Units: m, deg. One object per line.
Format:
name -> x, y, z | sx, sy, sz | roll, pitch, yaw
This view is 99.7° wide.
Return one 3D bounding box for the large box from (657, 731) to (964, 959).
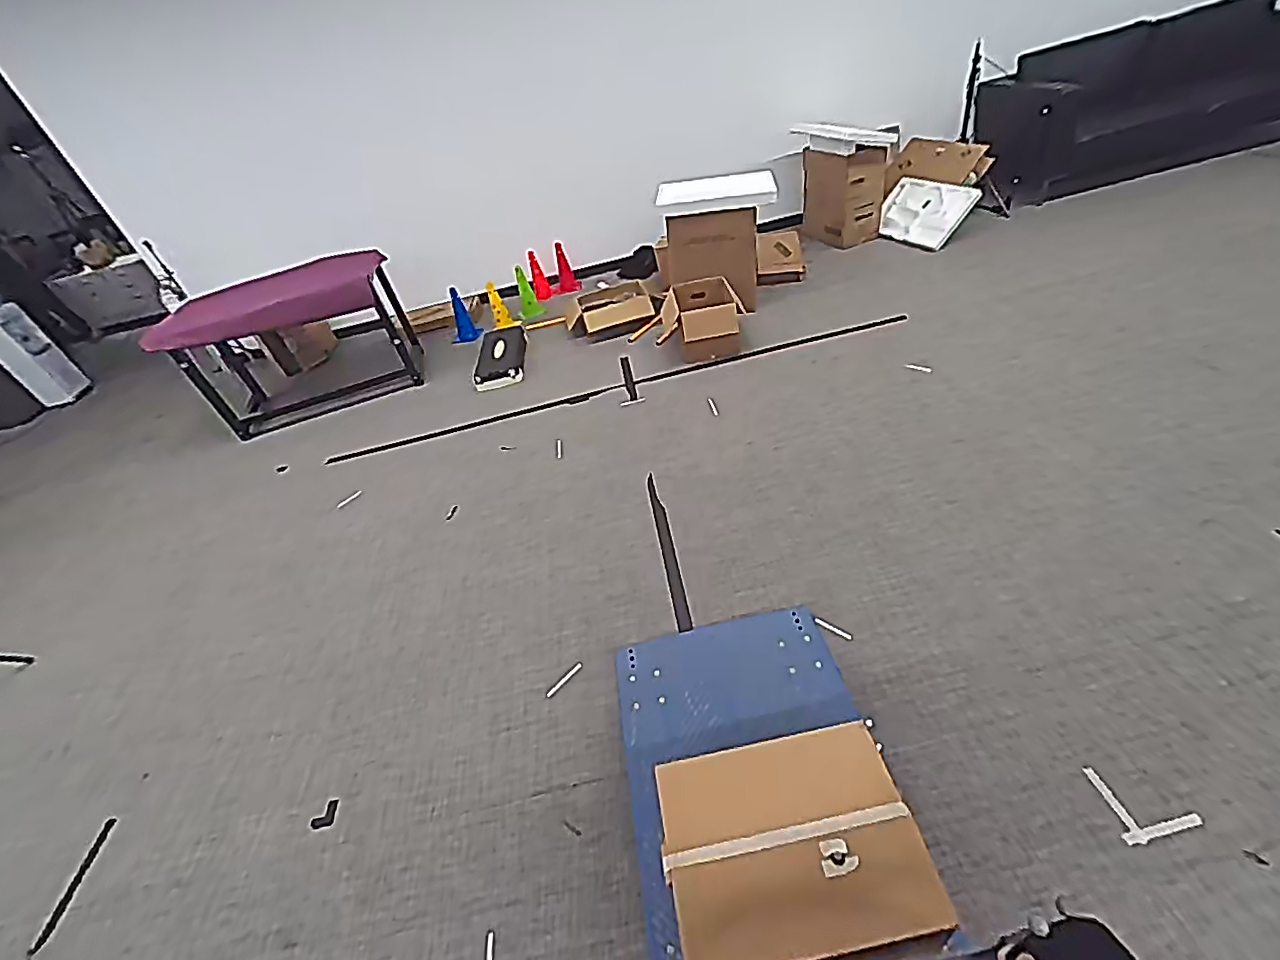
large box -> 0.268, 0.710, 0.963 | 0.408, 0.320, 0.320 | -13, 40, 0
